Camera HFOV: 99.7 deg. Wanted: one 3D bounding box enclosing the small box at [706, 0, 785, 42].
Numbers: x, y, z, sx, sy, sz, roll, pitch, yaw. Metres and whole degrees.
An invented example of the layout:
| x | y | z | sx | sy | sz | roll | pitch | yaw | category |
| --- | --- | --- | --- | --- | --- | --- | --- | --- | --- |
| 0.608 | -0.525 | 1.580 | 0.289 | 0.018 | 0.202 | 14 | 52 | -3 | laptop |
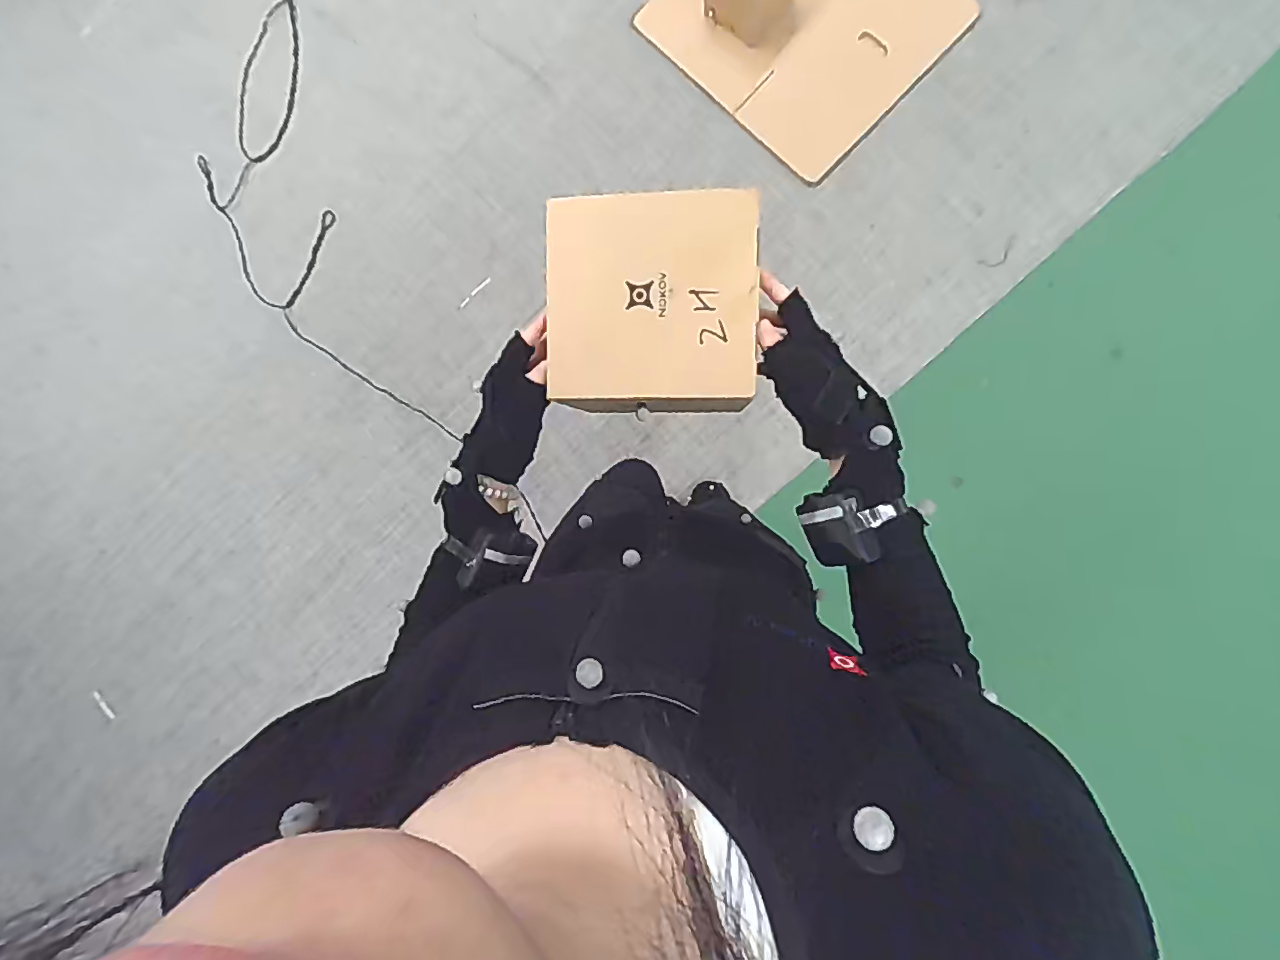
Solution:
| x | y | z | sx | sy | sz | roll | pitch | yaw | category |
| --- | --- | --- | --- | --- | --- | --- | --- | --- | --- |
| 0.276 | -1.278 | 1.367 | 0.168 | 0.176 | 0.179 | 41 | 94 | 6 | small box |

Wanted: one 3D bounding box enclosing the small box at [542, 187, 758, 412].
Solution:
| x | y | z | sx | sy | sz | roll | pitch | yaw | category |
| --- | --- | --- | --- | --- | --- | --- | --- | --- | --- |
| 0.015 | -0.154 | 0.517 | 0.179 | 0.176 | 0.168 | 1 | 93 | 6 | small box |
